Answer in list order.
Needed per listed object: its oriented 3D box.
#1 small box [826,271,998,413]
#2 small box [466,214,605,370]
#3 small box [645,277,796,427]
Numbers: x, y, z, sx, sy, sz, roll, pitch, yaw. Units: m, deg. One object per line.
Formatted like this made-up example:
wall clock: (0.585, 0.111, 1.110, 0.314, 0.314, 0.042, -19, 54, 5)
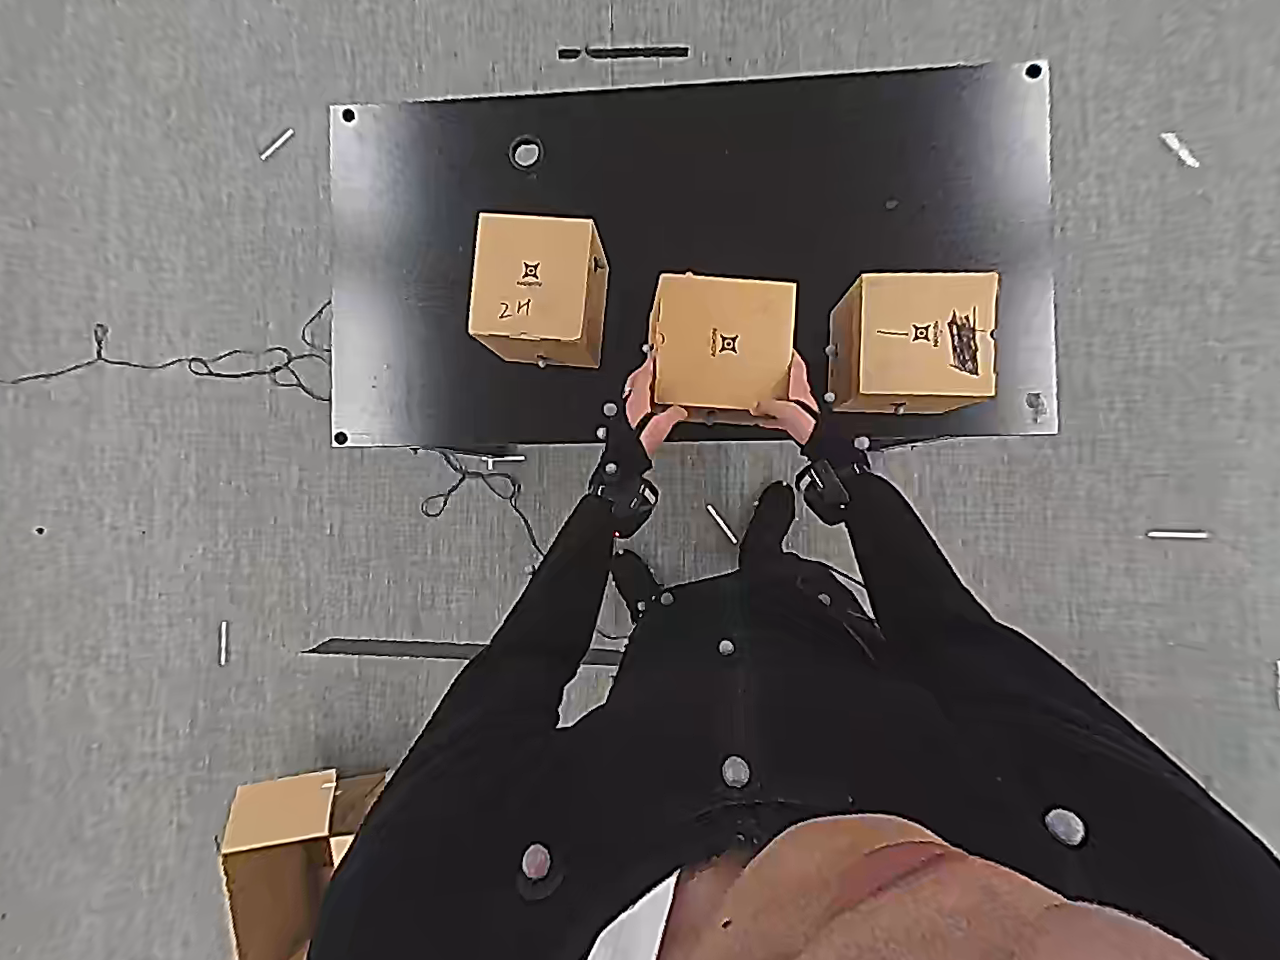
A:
small box: (0.384, -0.192, 0.790, 0.179, 0.176, 0.168, 2, 89, 6)
small box: (-0.150, -0.280, 0.834, 0.168, 0.176, 0.179, 5, 90, 5)
small box: (0.101, -0.166, 0.751, 0.179, 0.176, 0.168, 3, 89, -2)
